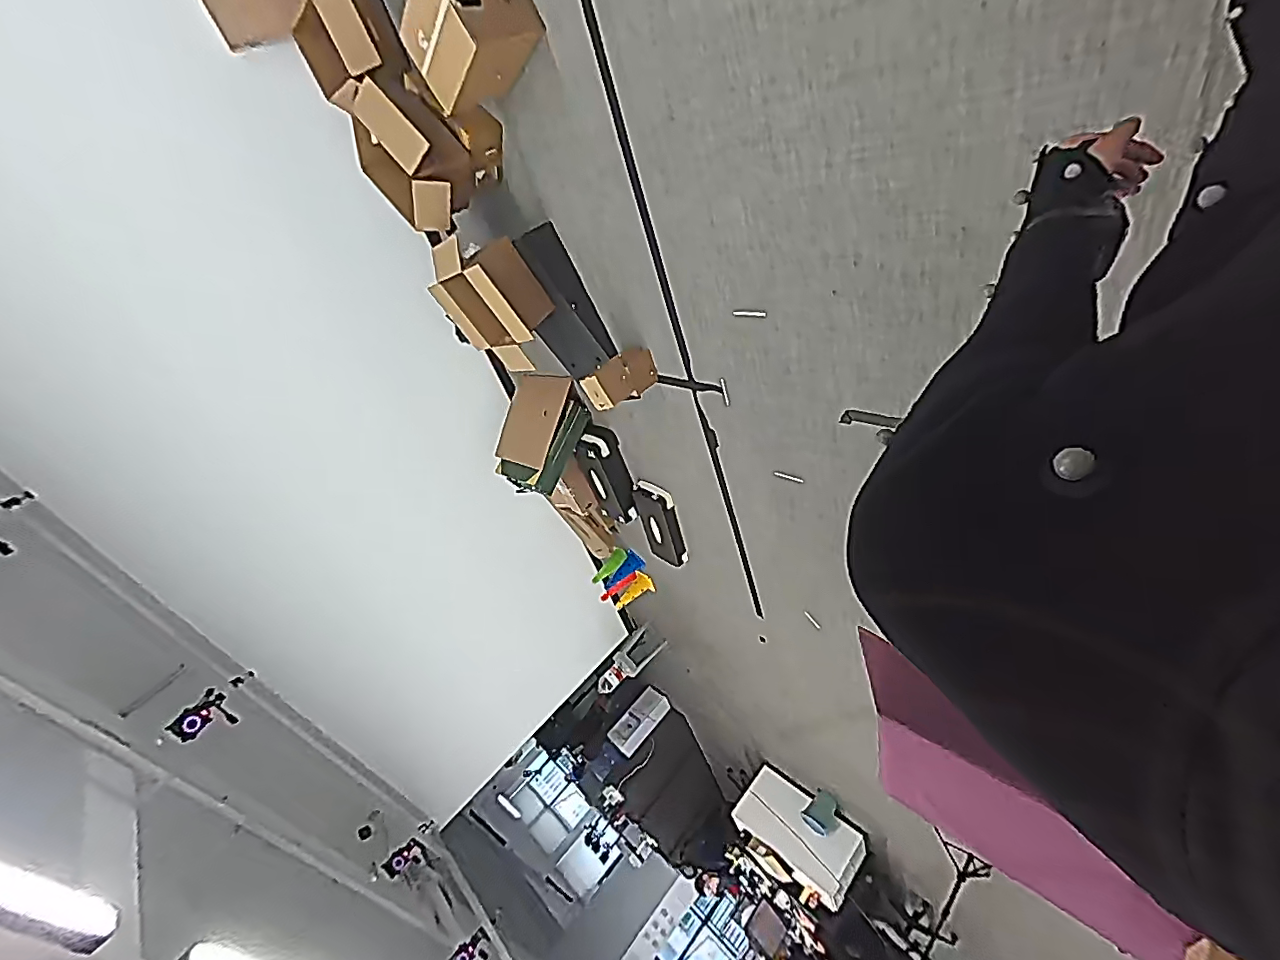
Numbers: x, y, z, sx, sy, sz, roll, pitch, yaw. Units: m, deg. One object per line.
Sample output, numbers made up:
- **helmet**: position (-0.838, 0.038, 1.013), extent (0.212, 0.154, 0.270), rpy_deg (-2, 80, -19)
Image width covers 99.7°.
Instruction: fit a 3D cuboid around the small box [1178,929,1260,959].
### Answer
- **small box**: position (1.379, 1.200, 1.257), extent (0.168, 0.176, 0.179), rpy_deg (23, 144, 42)
